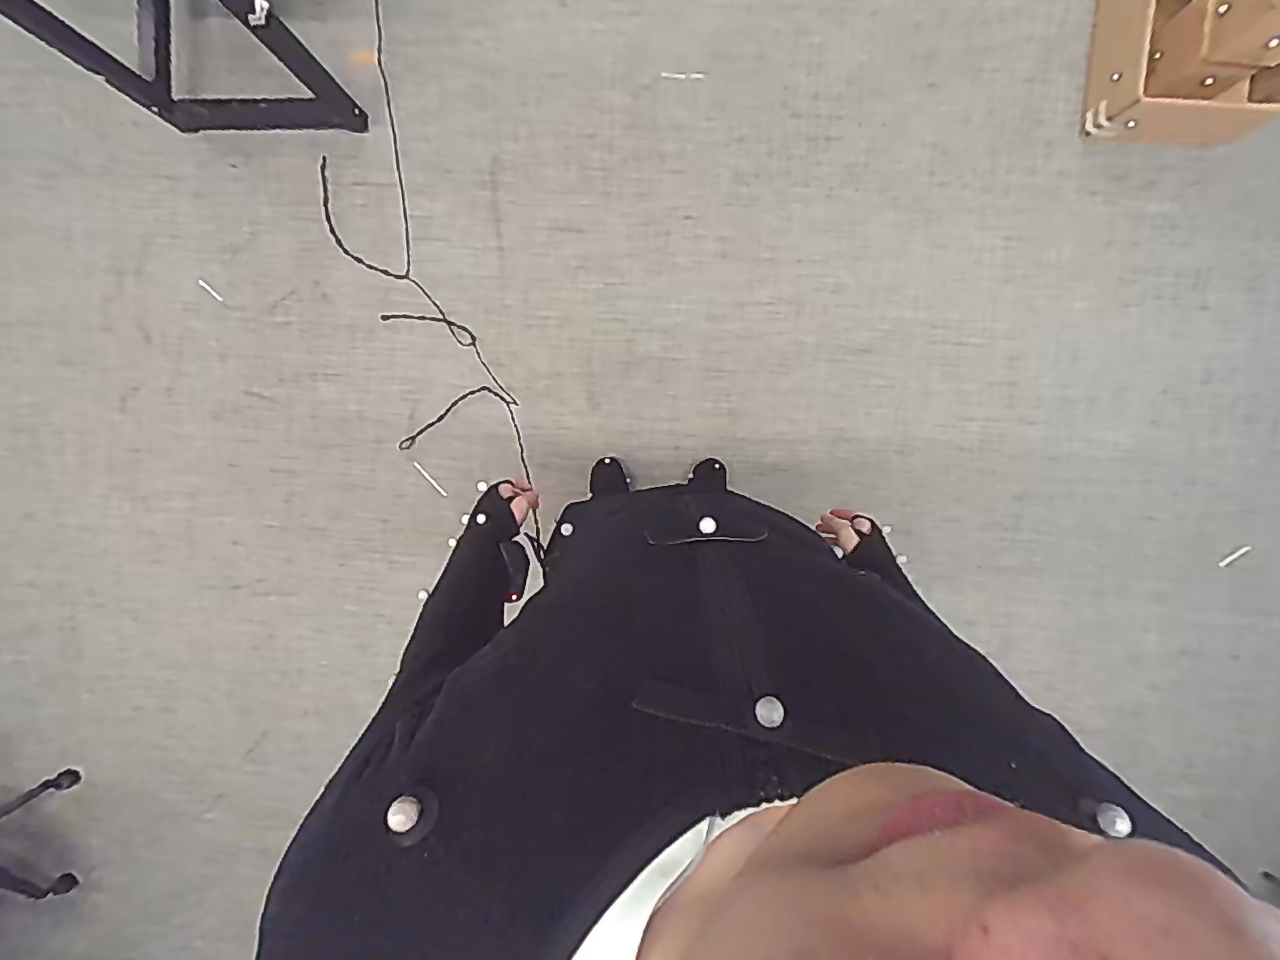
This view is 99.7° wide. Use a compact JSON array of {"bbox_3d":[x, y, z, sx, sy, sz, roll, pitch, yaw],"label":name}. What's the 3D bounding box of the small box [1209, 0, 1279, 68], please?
[{"bbox_3d":[1.446,-1.069,1.210,0.168,0.176,0.179,8,94,3],"label":"small box"}]
